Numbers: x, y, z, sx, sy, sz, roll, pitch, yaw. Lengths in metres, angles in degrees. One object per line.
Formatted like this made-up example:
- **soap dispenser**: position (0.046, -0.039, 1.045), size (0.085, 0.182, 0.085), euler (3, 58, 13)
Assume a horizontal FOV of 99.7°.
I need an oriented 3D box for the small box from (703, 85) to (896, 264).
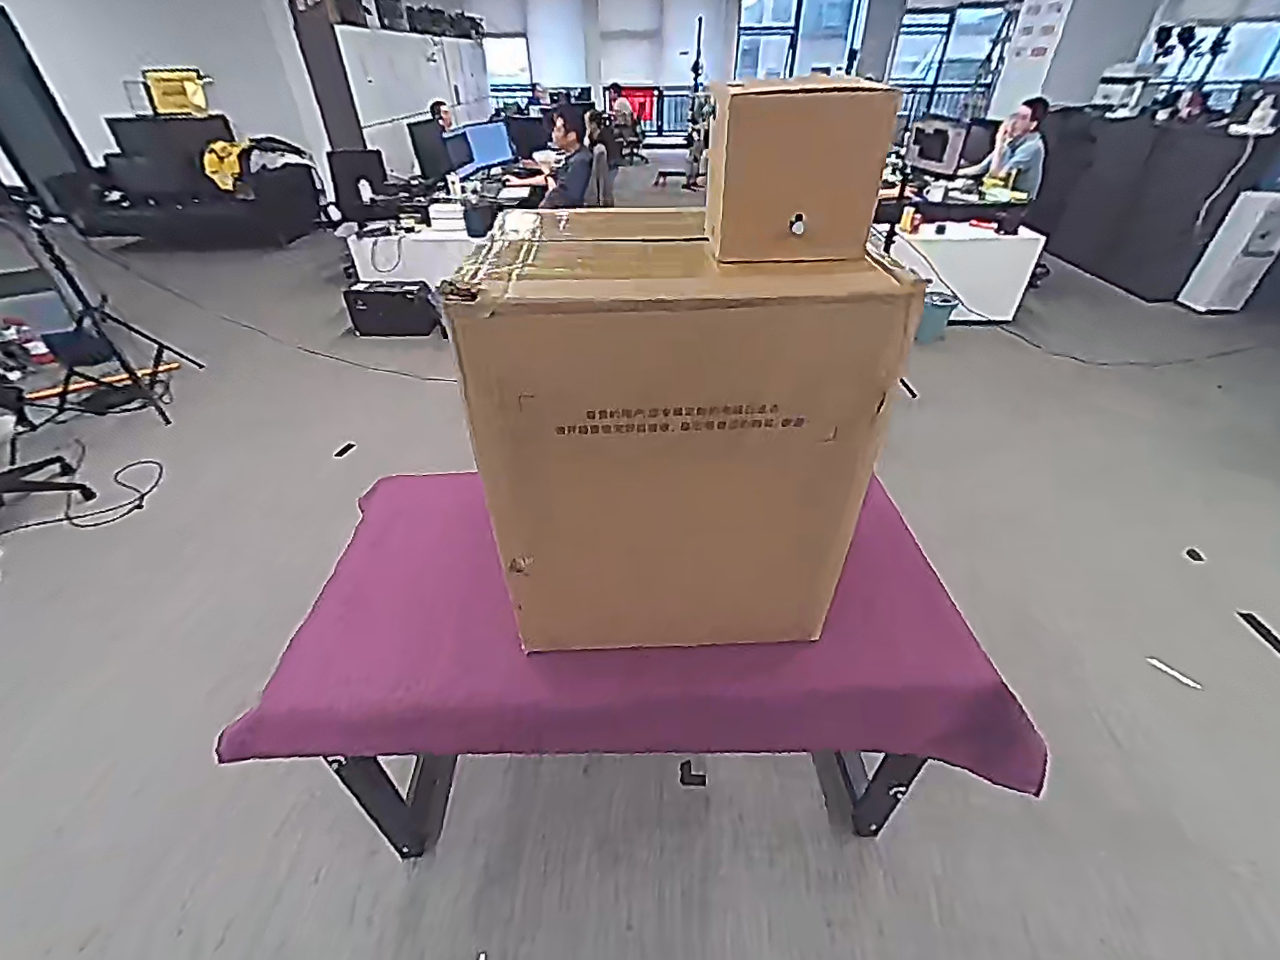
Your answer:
- **small box**: position (0.176, -0.372, 0.661), size (0.179, 0.176, 0.168), euler (-1, 38, 0)
